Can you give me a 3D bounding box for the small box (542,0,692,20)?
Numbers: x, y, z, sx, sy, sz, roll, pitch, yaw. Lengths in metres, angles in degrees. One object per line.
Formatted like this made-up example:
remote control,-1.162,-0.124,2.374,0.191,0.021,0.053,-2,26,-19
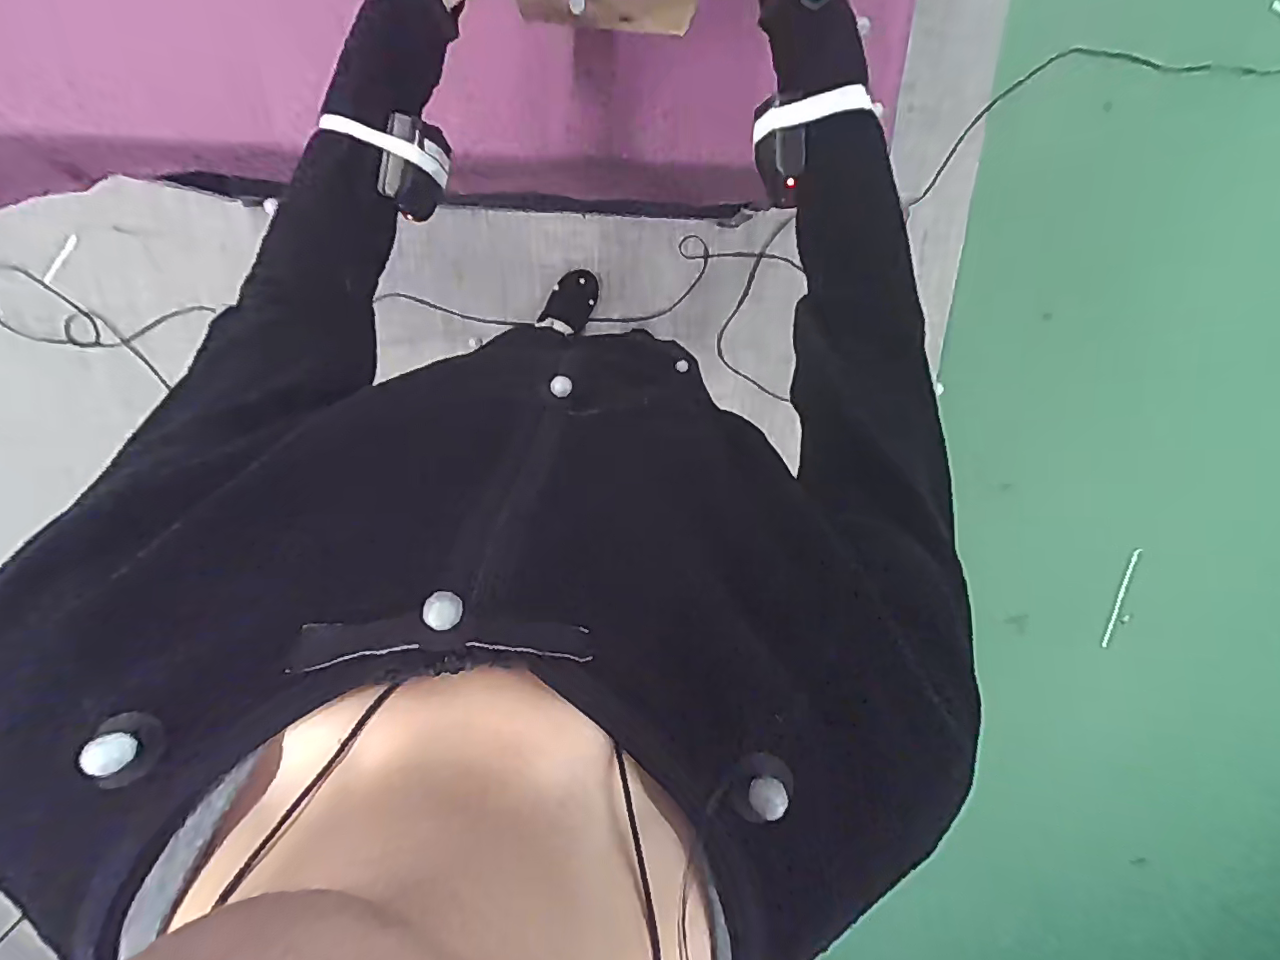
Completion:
small box,-0.023,-0.509,0.435,0.168,0.176,0.179,2,114,-4
